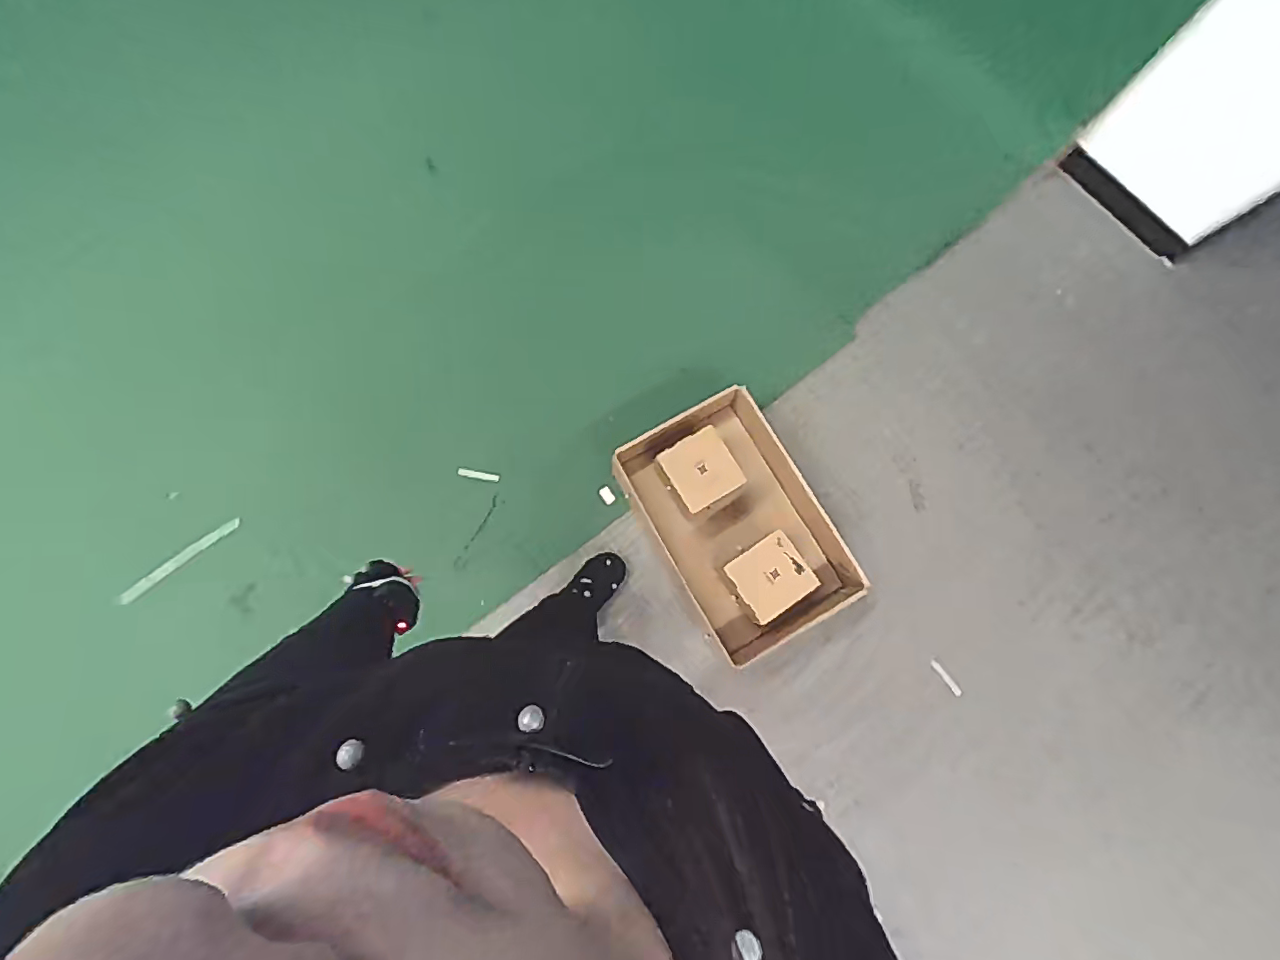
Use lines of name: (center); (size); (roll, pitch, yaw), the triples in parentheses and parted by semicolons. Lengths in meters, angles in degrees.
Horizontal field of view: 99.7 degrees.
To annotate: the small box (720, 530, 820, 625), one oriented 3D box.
small box: (0.316, 0.246, 1.366); (0.179, 0.176, 0.168); (-33, 81, -5)
